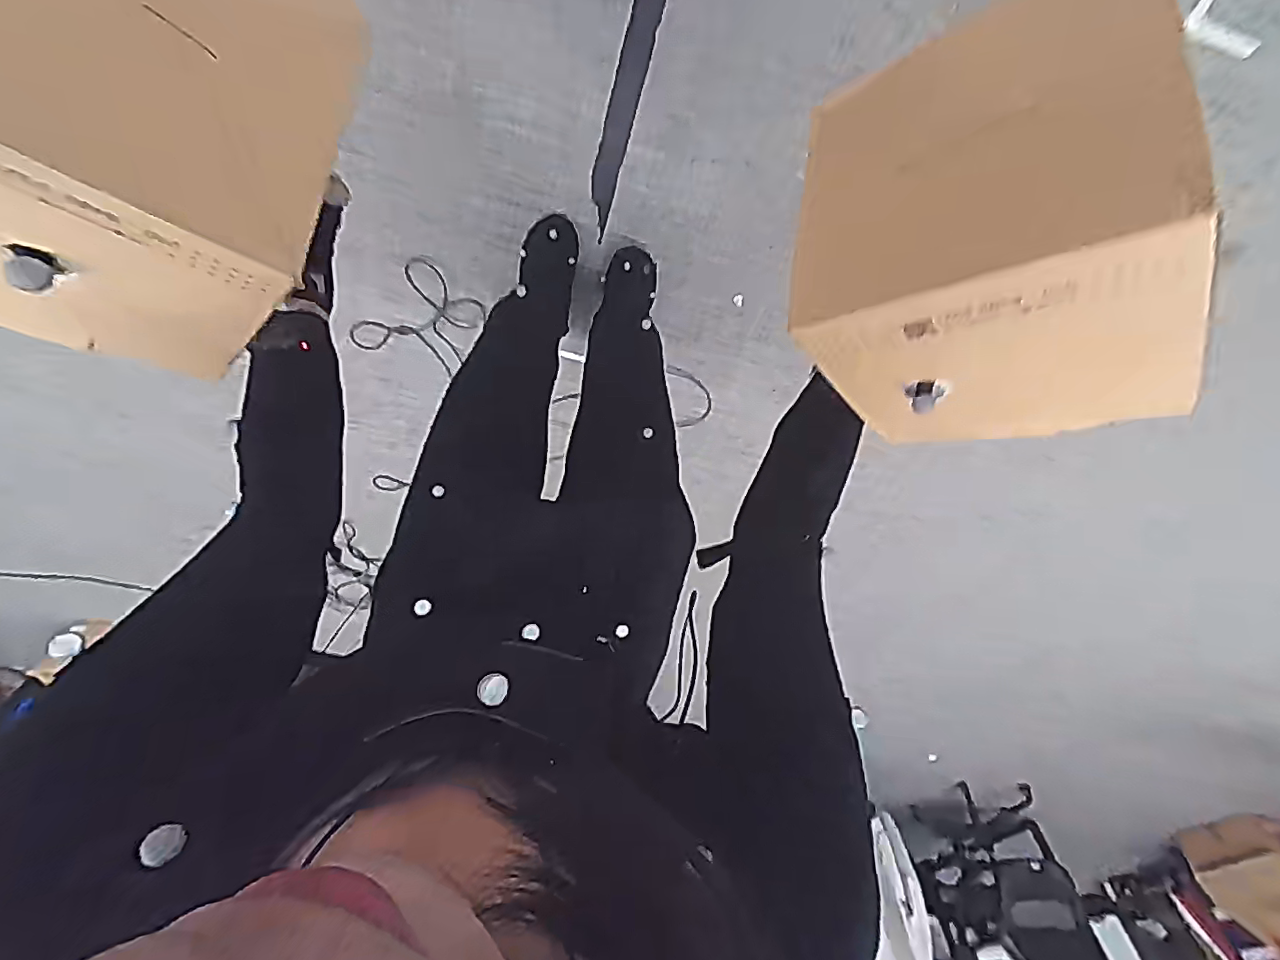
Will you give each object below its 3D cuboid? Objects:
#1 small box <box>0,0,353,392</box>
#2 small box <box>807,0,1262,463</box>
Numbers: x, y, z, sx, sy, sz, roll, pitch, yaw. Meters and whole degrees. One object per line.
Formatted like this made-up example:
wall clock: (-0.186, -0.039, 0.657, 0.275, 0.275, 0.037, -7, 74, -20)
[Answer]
small box: (-0.263, -0.170, 0.252, 0.176, 0.179, 0.168, -15, 154, 40)
small box: (0.207, -0.127, 0.307, 0.168, 0.179, 0.176, -5, 157, 40)
